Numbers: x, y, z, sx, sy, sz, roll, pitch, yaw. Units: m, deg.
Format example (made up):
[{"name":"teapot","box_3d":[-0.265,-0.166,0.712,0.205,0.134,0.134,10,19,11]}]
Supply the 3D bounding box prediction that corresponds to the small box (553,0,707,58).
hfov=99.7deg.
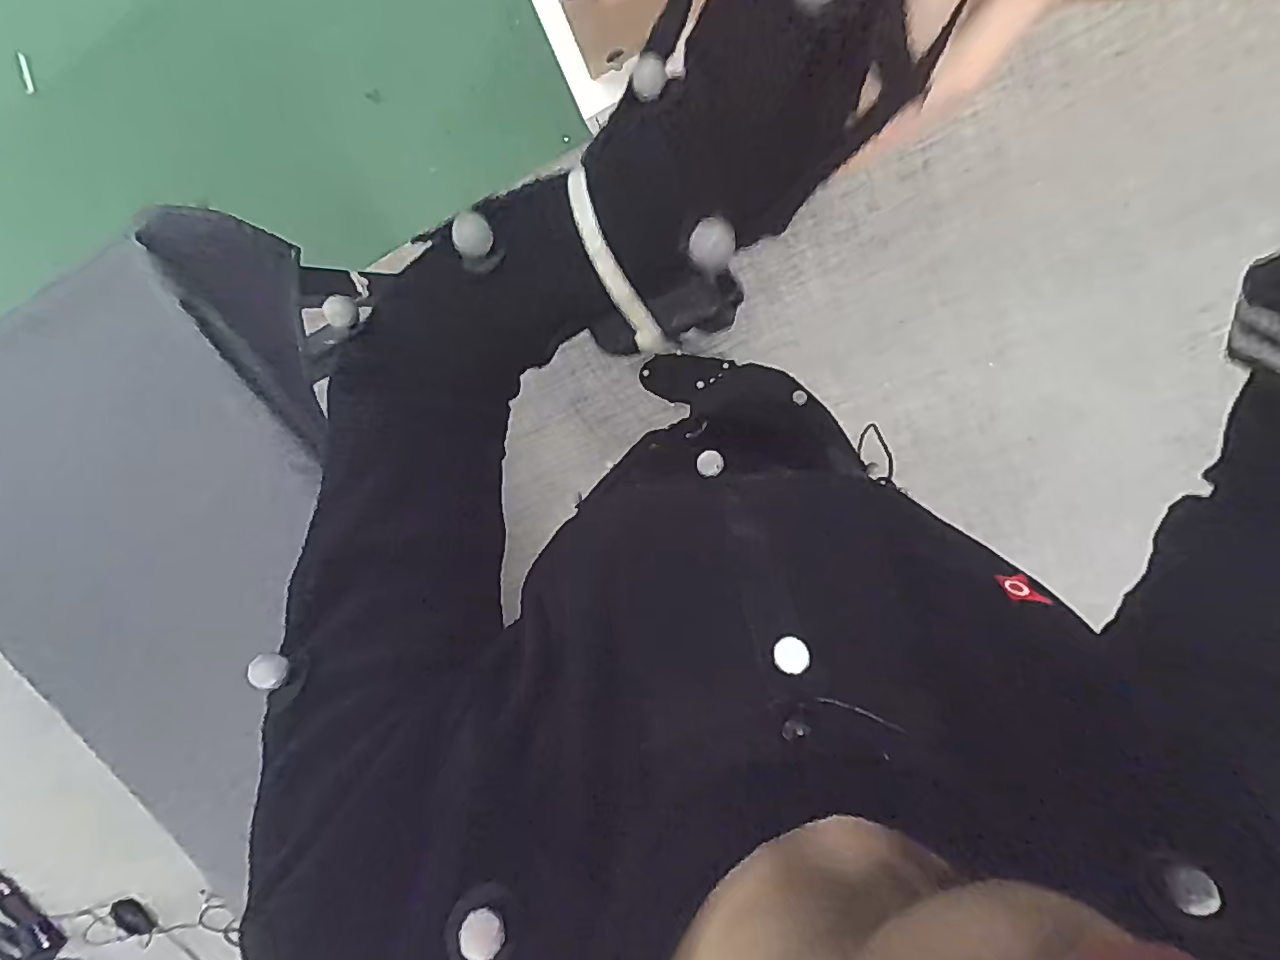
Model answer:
[{"name":"small box","box_3d":[-0.028,-0.545,0.508,0.168,0.176,0.179,-23,104,10]}]
